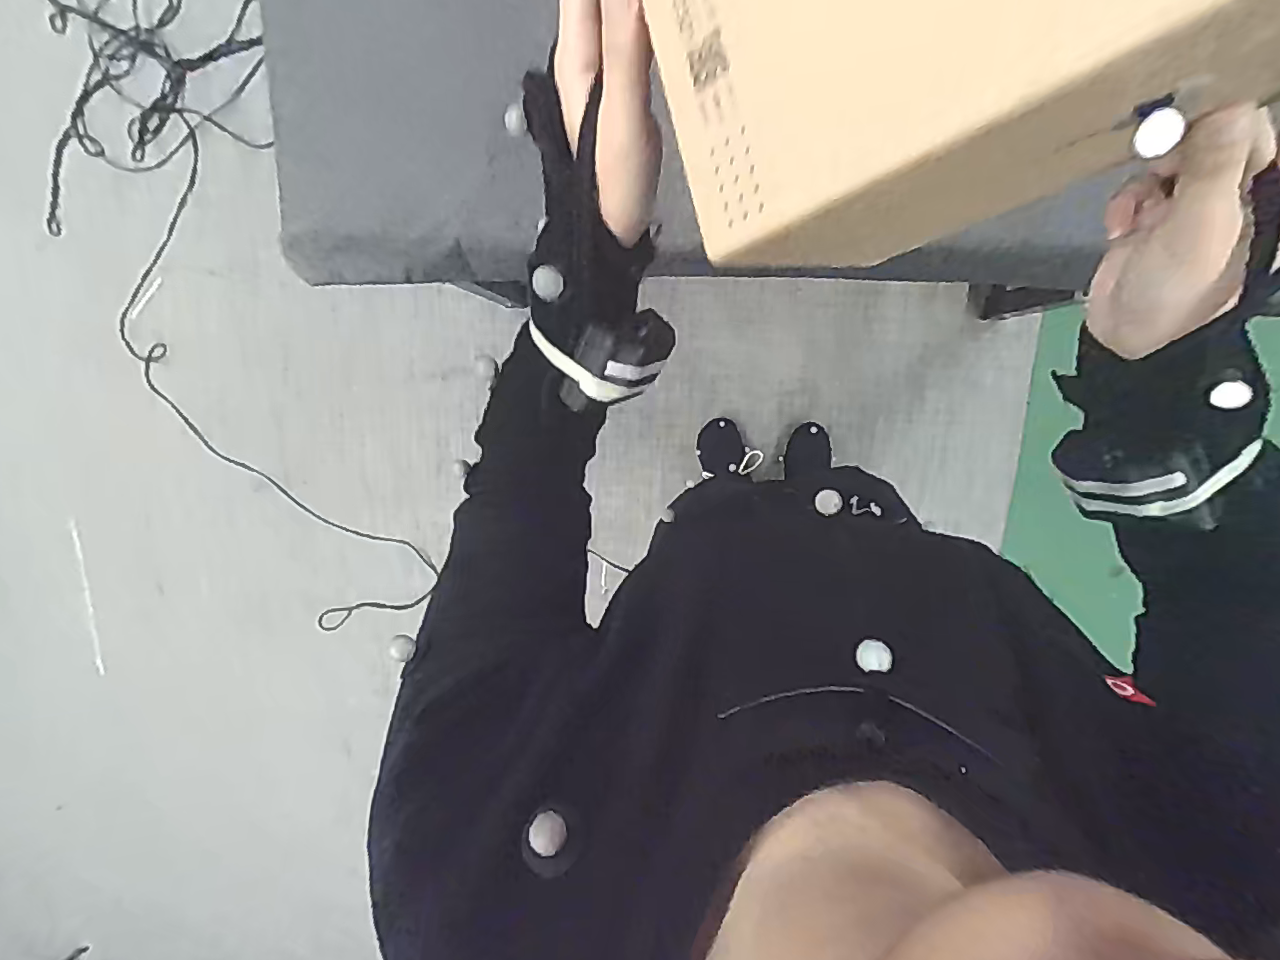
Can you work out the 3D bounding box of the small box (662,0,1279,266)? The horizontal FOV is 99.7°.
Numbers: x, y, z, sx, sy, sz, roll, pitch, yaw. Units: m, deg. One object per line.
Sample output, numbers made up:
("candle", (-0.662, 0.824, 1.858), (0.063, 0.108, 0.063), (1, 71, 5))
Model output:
("small box", (0.118, -0.190, 0.199), (0.176, 0.179, 0.168), (-9, 101, 44))
